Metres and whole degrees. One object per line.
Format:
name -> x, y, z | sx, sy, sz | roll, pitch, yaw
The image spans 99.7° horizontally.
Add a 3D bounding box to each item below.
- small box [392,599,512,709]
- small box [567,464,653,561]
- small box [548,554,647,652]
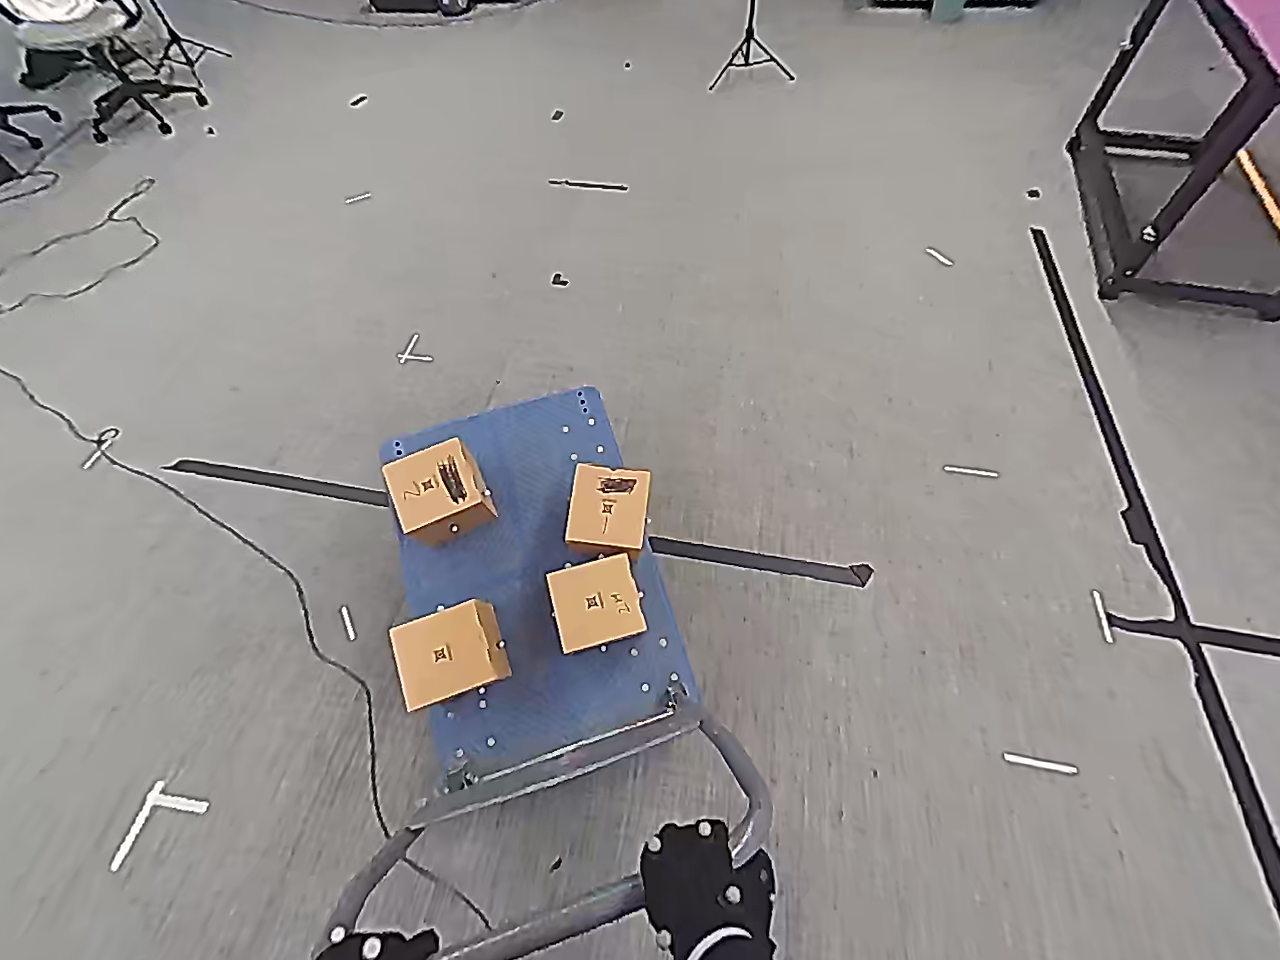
small box -> -0.389, 0.367, 1.140 | 0.179, 0.176, 0.168 | -19, 74, -9
small box -> -0.066, 0.079, 1.241 | 0.168, 0.176, 0.179 | 7, 73, 1
small box -> -0.089, 0.273, 1.178 | 0.179, 0.176, 0.168 | -14, 74, -6
